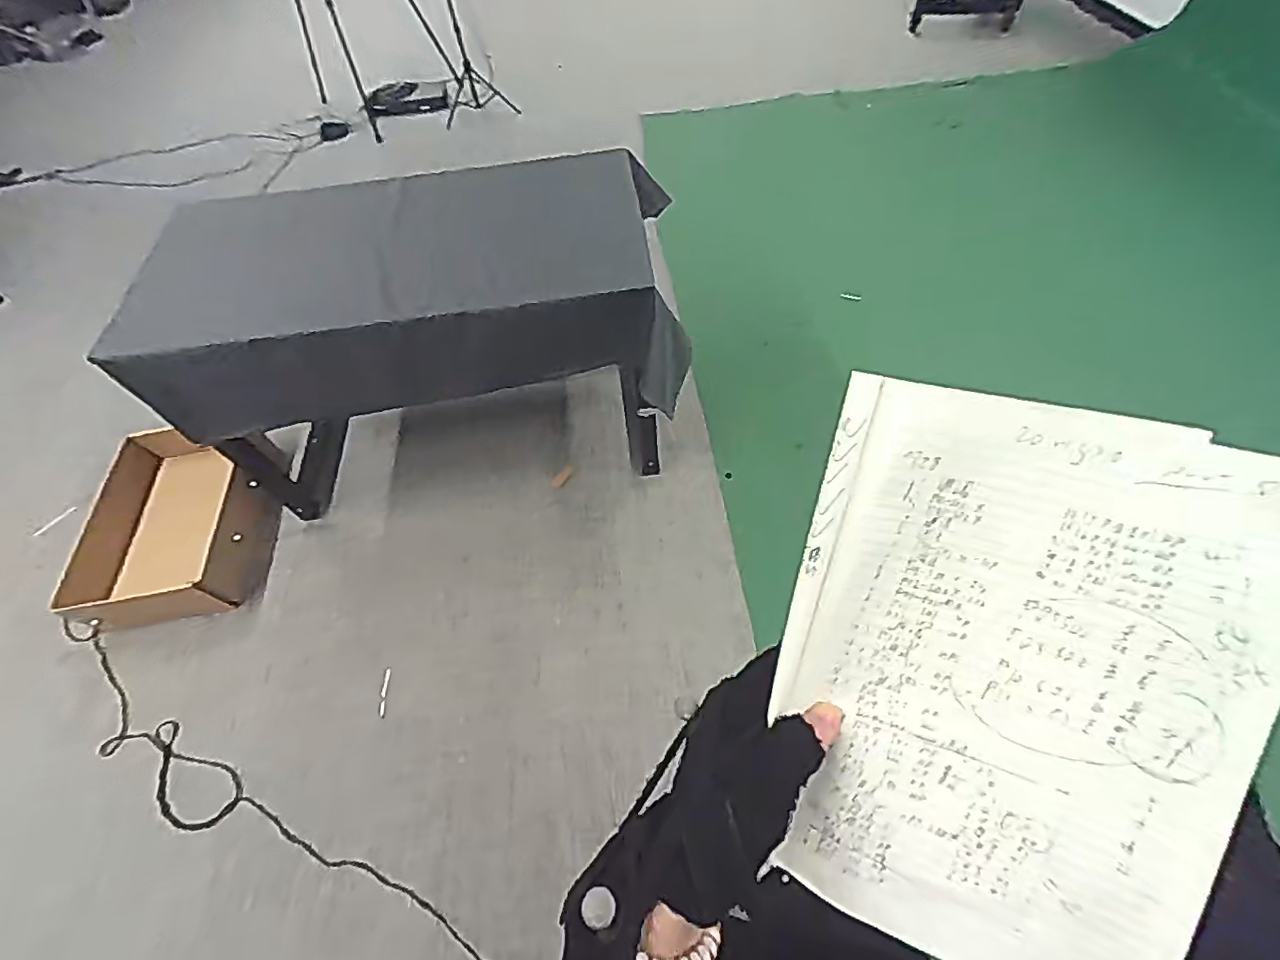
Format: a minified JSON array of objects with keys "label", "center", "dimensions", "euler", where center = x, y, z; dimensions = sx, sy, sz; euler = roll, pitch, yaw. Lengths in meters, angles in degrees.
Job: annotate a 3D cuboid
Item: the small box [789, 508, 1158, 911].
[{"label":"small box","center":[0.198,0.131,0.369],"dimensions":[0.168,0.176,0.179],"euler":[8,77,15]}]
